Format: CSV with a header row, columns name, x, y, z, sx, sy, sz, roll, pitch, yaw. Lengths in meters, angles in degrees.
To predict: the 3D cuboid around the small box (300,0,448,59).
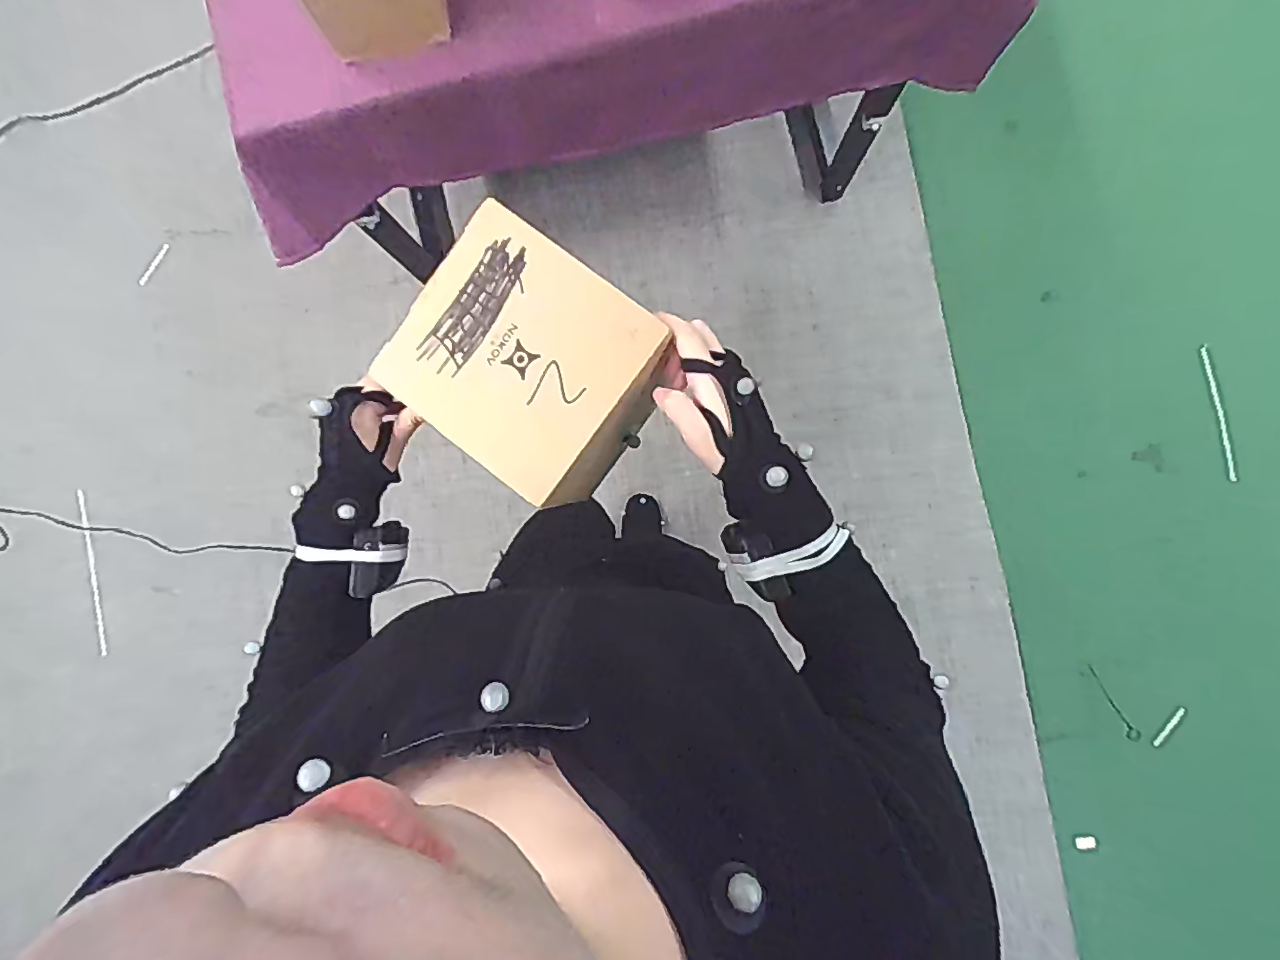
name,x,y,z,sx,sy,sz,roll,pitch,yaw
small box,-0.390,-0.730,0.747,0.179,0.176,0.168,-10,88,1
